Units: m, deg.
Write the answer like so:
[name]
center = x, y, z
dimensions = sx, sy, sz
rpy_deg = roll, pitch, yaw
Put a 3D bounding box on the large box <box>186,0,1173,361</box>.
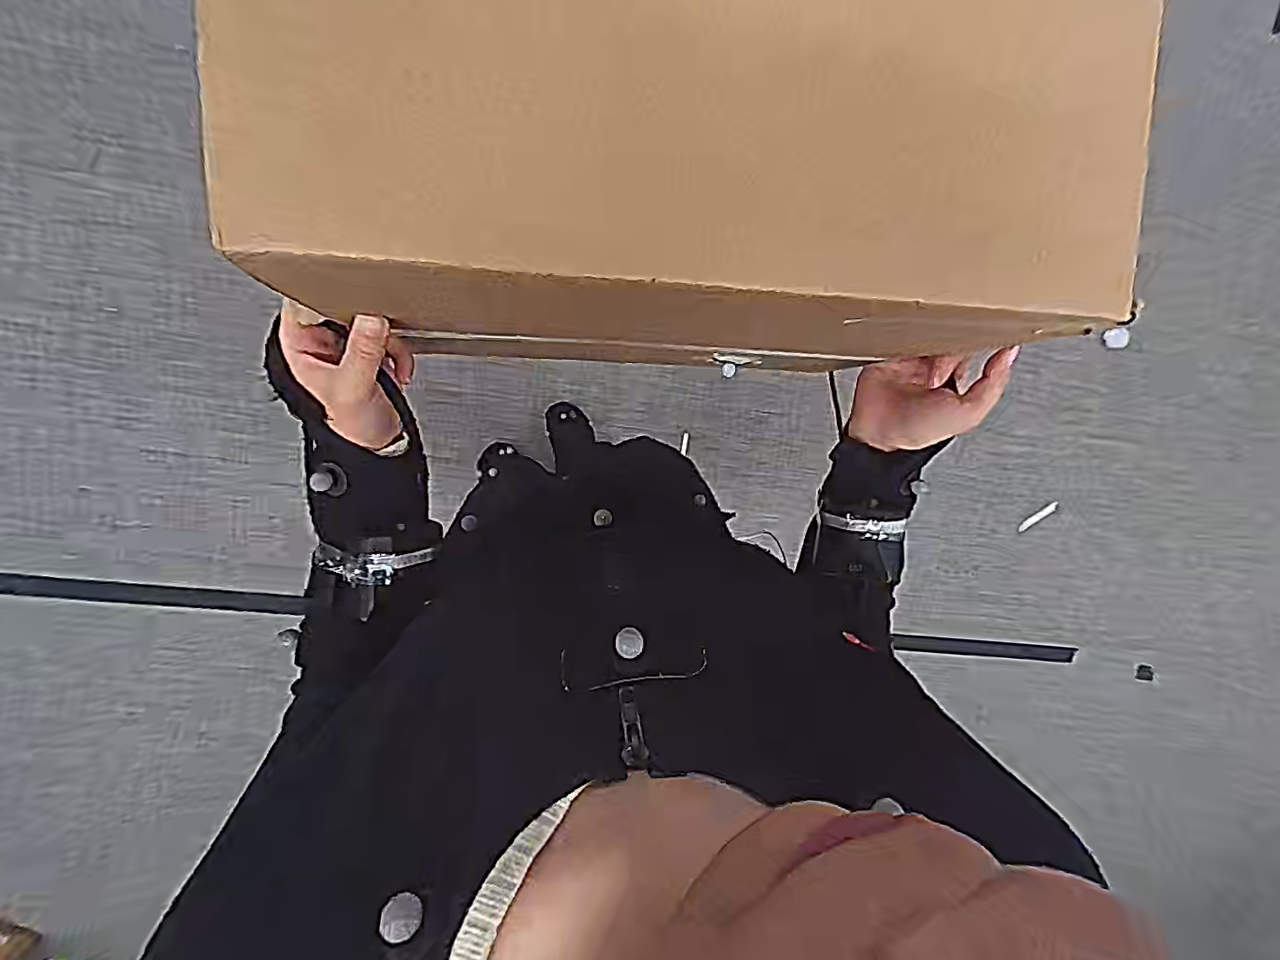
[large box]
center = 0.019, -0.255, 0.347
dimensions = 0.408, 0.320, 0.320
rpy_deg = -1, 97, -13
